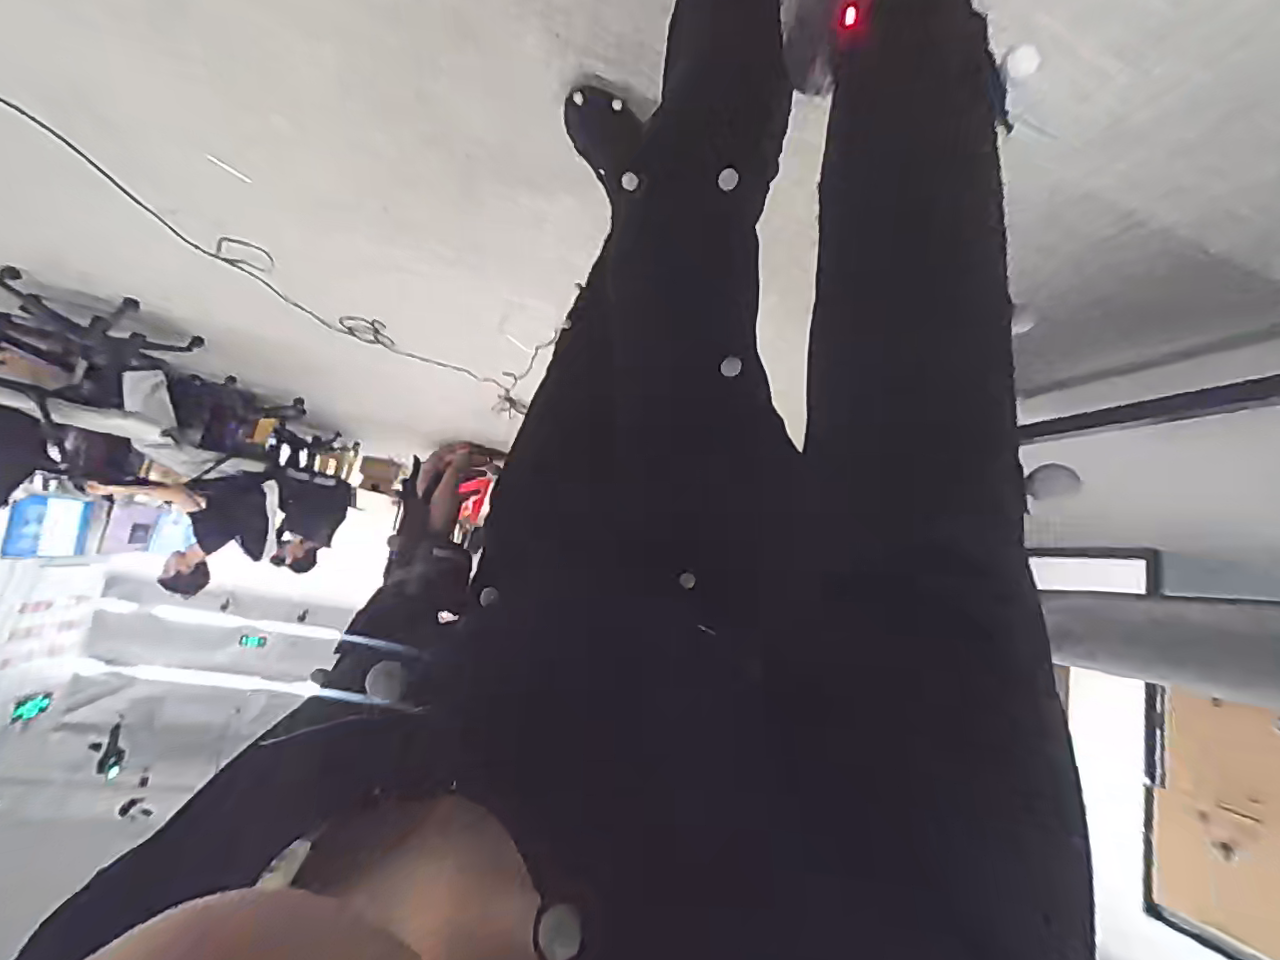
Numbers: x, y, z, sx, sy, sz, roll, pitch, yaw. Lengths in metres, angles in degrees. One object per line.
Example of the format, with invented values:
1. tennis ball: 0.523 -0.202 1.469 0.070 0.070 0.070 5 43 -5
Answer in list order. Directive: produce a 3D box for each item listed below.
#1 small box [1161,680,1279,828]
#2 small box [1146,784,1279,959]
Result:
1. small box: 0.917 0.402 0.798 0.179 0.176 0.168 13 170 -20
2. small box: 0.891 0.565 0.787 0.179 0.176 0.168 13 169 -17
